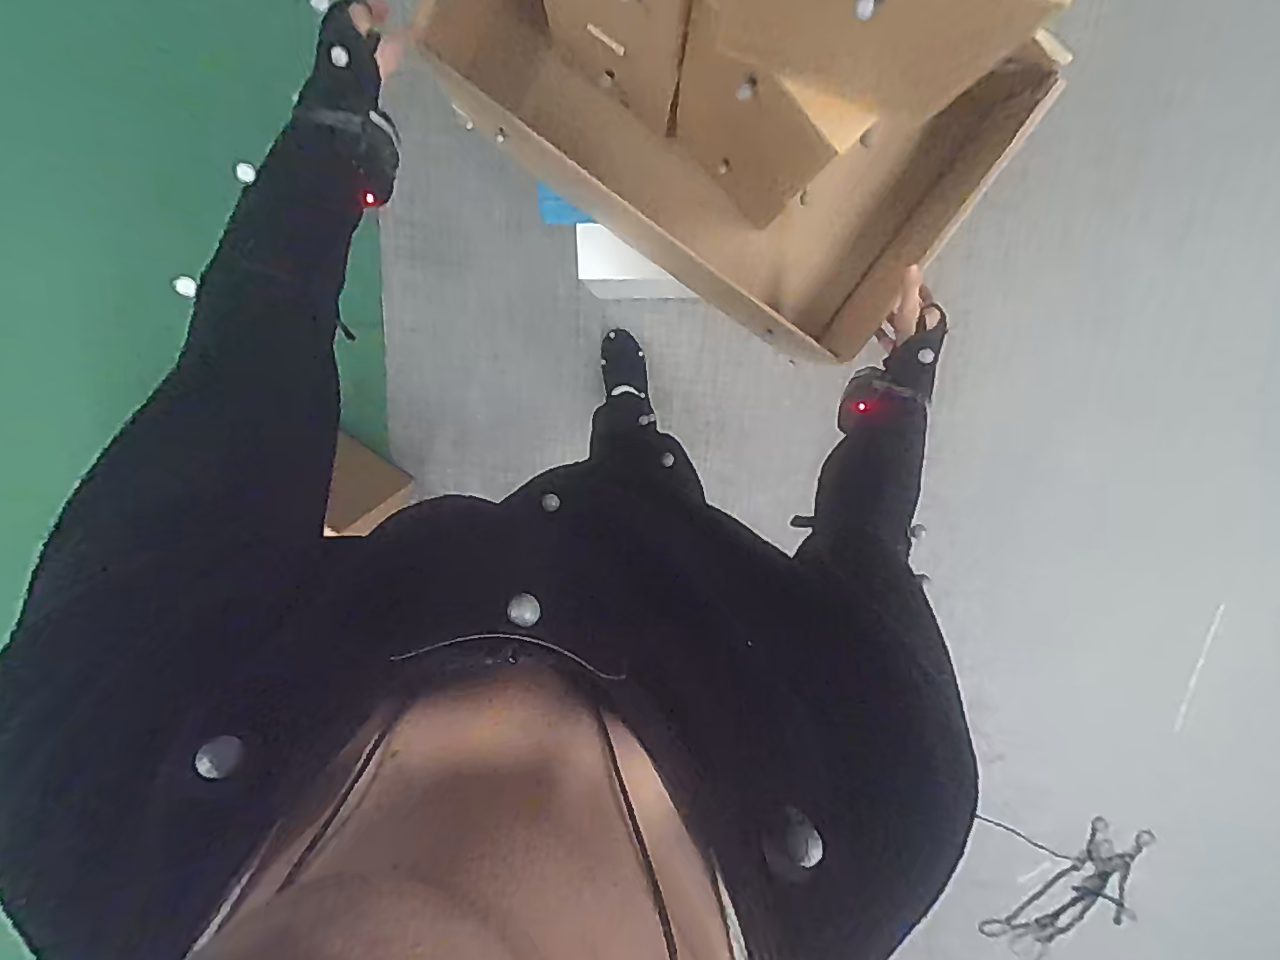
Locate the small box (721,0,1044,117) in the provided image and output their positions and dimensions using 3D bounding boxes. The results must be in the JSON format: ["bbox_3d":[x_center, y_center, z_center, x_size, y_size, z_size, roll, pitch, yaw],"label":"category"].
[{"bbox_3d":[0.160,-0.360,0.326,0.179,0.176,0.168,20,104,-3],"label":"small box"}]
